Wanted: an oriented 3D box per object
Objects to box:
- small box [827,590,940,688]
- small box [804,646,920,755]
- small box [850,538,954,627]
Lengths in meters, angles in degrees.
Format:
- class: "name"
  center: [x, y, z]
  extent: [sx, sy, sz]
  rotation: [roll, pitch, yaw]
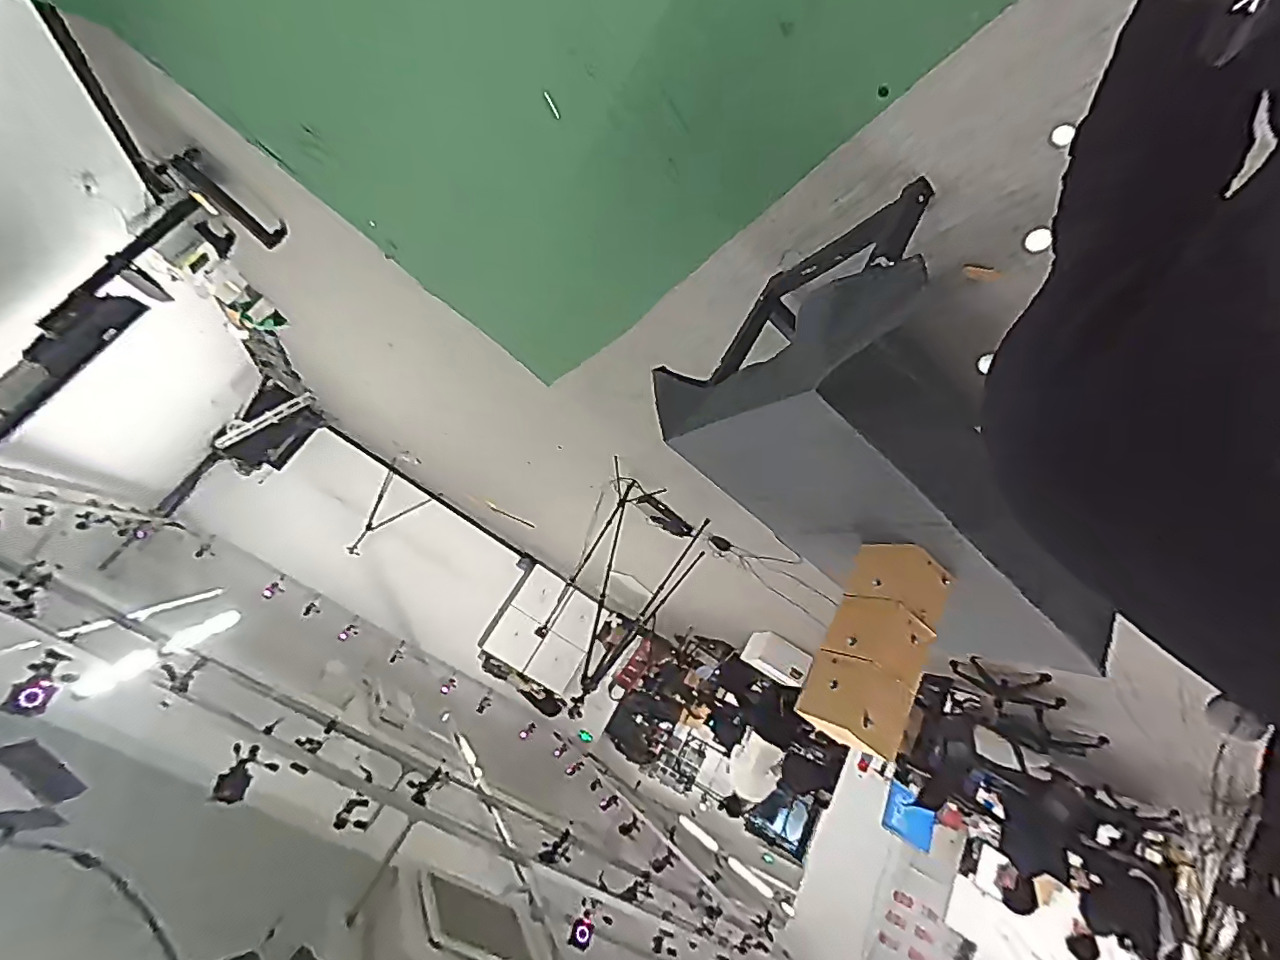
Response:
- class: "small box"
  center: [0.621, 0.395, 1.375]
  extent: [0.168, 0.176, 0.179]
  rotation: [38, 159, -17]
- class: "small box"
  center: [0.540, 0.526, 1.315]
  extent: [0.179, 0.176, 0.168]
  rotation: [39, 159, -19]
- class: "small box"
  center: [0.700, 0.266, 1.432]
  extent: [0.168, 0.176, 0.179]
  rotation: [38, 160, -17]
